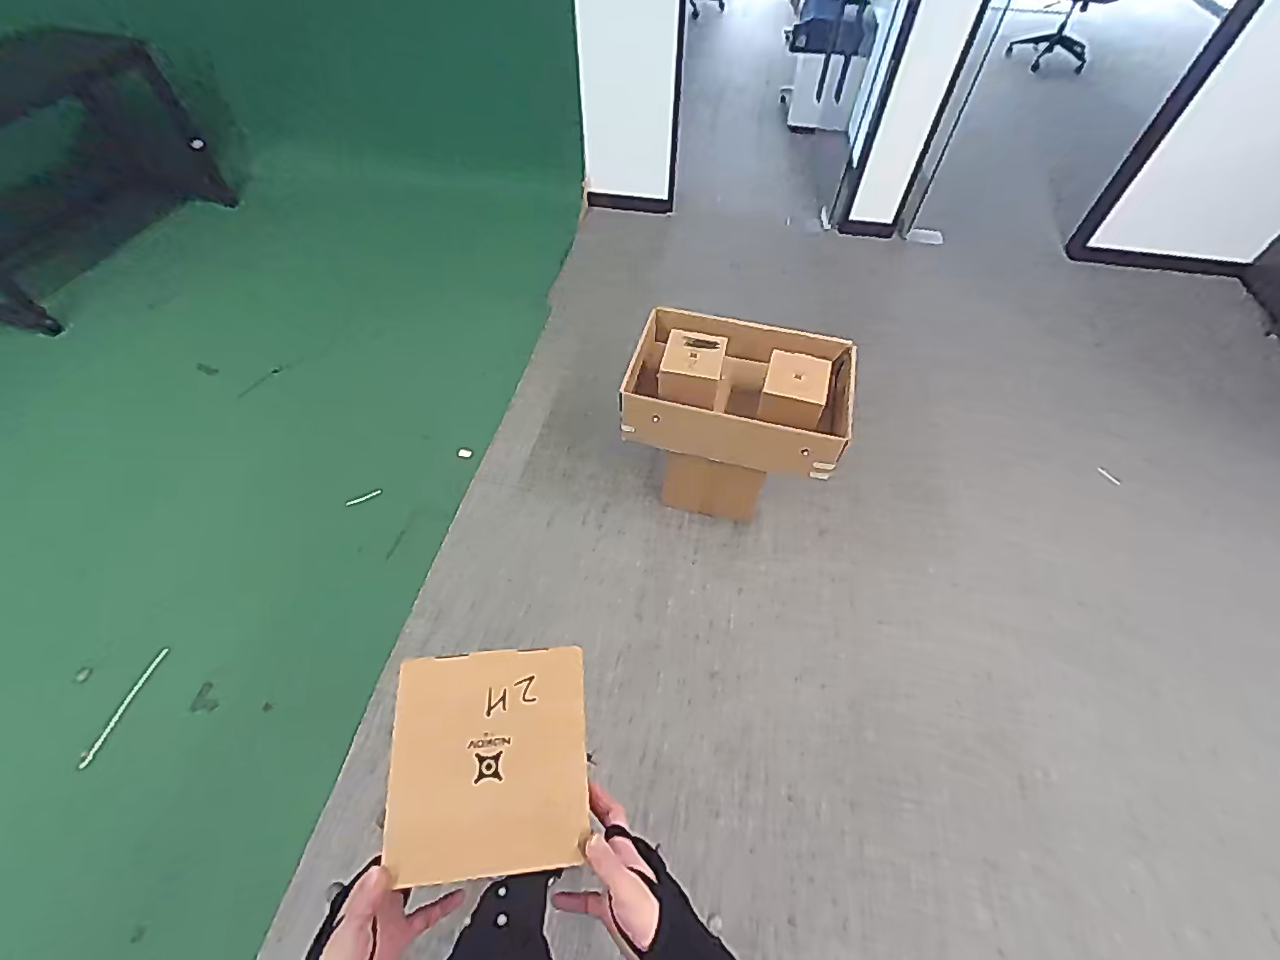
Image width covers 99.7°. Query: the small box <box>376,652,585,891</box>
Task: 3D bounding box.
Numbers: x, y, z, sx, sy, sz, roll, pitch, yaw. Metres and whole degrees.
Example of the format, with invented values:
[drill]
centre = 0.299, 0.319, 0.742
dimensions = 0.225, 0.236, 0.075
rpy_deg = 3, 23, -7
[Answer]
[small box]
centre = -0.139, 0.278, 0.538
dimensions = 0.168, 0.176, 0.179
rpy_deg = -1, 62, -7
